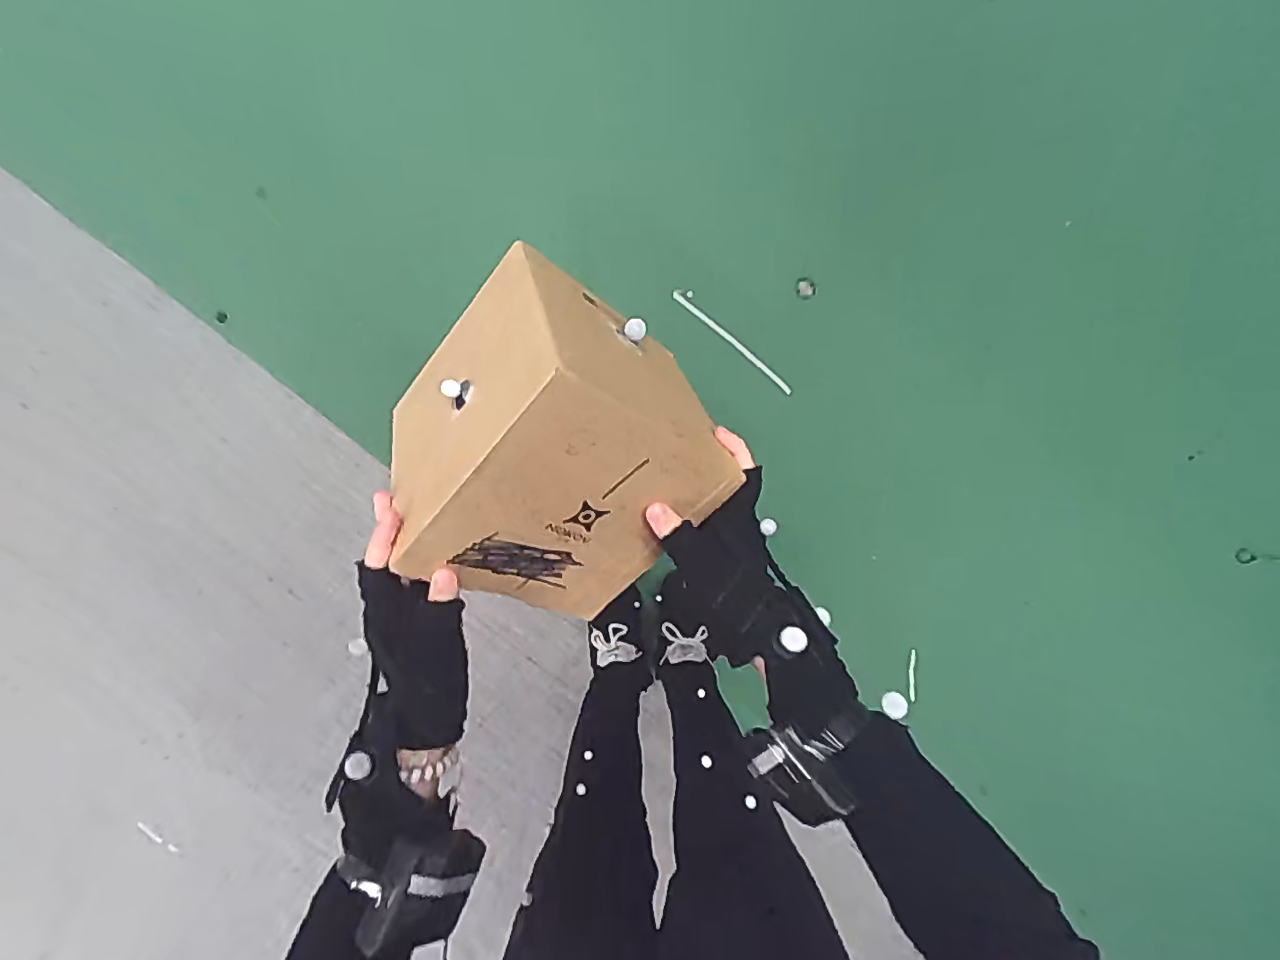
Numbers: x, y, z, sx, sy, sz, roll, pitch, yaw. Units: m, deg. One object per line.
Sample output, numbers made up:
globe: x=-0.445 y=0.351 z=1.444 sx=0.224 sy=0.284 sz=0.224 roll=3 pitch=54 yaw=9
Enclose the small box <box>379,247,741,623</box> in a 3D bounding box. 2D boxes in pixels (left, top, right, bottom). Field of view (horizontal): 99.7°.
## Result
small box: x=-0.065 y=-0.027 z=0.394 sx=0.168 sy=0.176 sz=0.179 roll=27 pitch=118 yaw=-40
